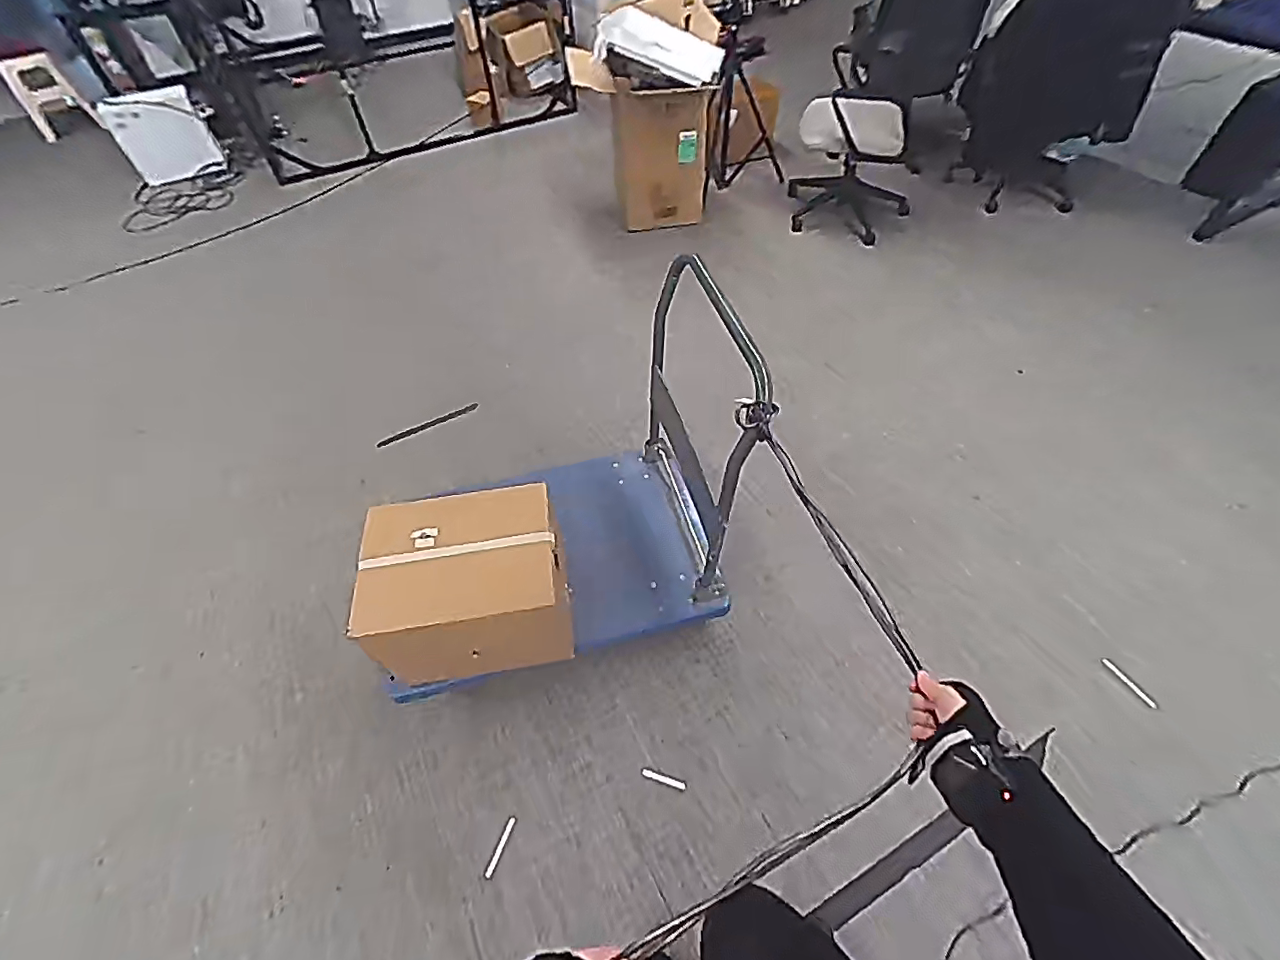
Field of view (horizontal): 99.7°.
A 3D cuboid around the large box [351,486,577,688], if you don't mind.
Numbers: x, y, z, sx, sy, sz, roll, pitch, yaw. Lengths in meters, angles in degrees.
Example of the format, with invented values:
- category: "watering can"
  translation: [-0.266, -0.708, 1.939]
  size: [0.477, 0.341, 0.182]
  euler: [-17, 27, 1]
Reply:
- category: "large box"
  translation: [-0.377, 0.254, 1.254]
  size: [0.408, 0.320, 0.320]
  euler: [-9, 52, -4]
